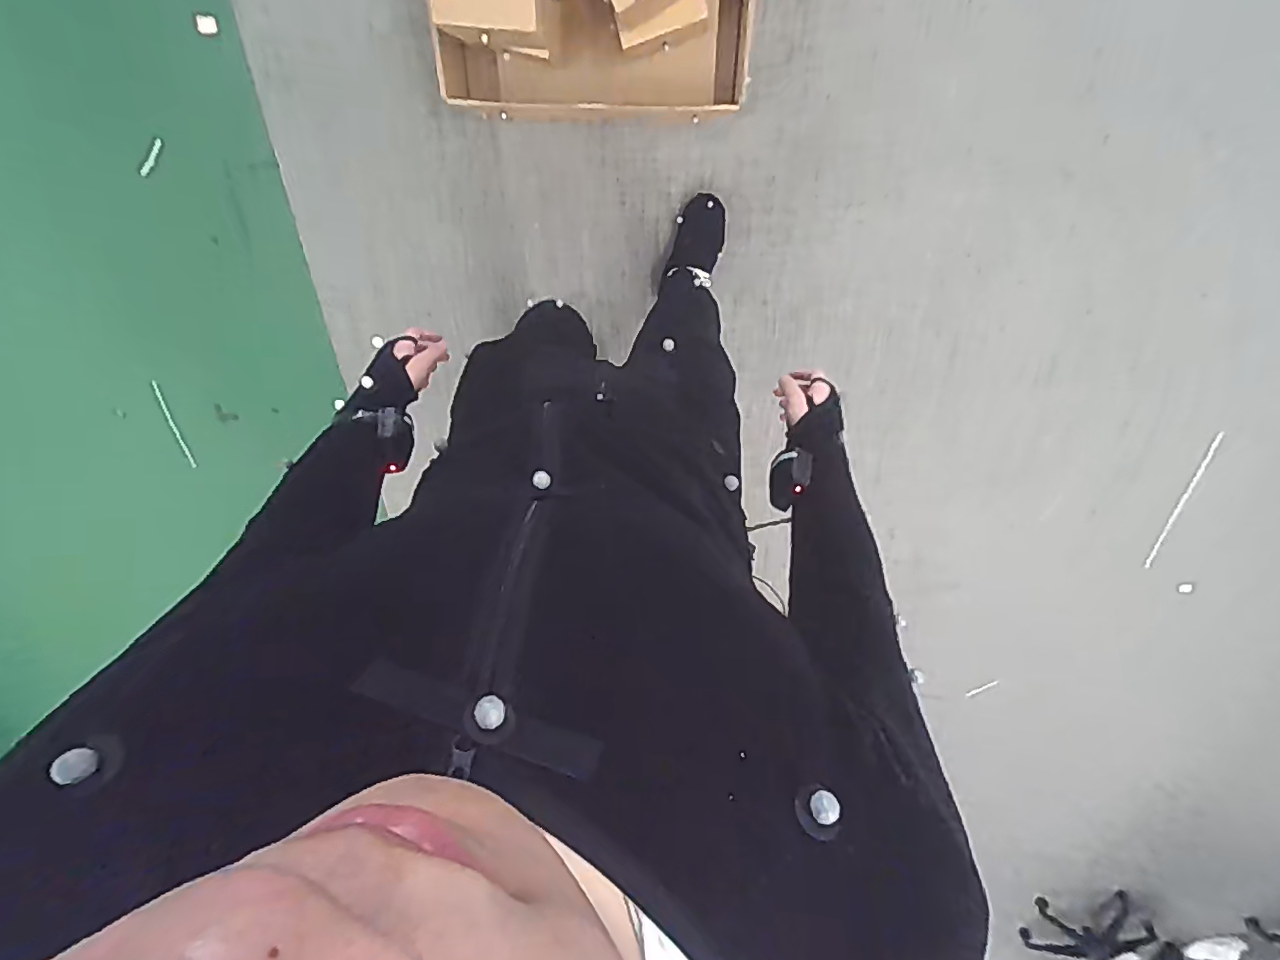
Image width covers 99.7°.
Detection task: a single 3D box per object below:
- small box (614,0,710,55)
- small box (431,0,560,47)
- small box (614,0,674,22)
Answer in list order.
[{"bbox_3d":[0.036,-0.931,1.014,0.168,0.176,0.179,-10,119,13],"label":"small box"},{"bbox_3d":[-0.237,-0.847,0.903,0.179,0.176,0.168,6,121,1],"label":"small box"},{"bbox_3d":[0.012,-0.874,0.860,0.168,0.176,0.179,-20,117,17],"label":"small box"}]
